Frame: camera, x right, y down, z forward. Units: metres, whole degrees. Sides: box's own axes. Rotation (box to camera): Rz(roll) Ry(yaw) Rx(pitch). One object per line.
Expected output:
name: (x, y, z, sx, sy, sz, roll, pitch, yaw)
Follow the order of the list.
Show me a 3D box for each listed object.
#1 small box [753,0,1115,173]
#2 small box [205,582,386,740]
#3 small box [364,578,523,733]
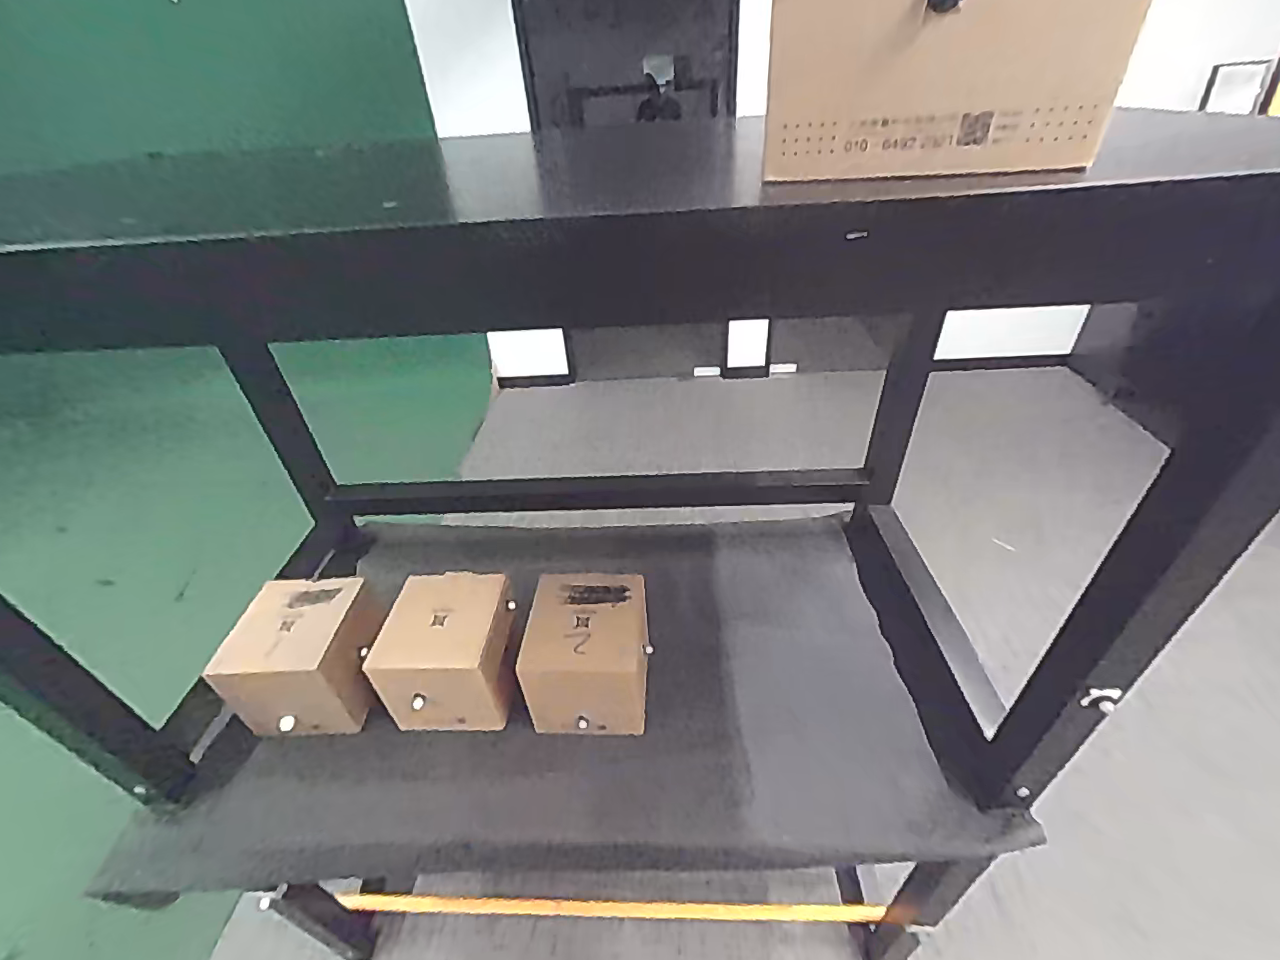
small box: (0.156, -0.283, 0.316, 0.168, 0.176, 0.179, 3, 36, 11)
small box: (-0.516, 0.283, 0.855, 0.168, 0.176, 0.179, -3, 36, 2)
small box: (-0.290, 0.275, 0.847, 0.168, 0.176, 0.179, -1, 35, 3)
